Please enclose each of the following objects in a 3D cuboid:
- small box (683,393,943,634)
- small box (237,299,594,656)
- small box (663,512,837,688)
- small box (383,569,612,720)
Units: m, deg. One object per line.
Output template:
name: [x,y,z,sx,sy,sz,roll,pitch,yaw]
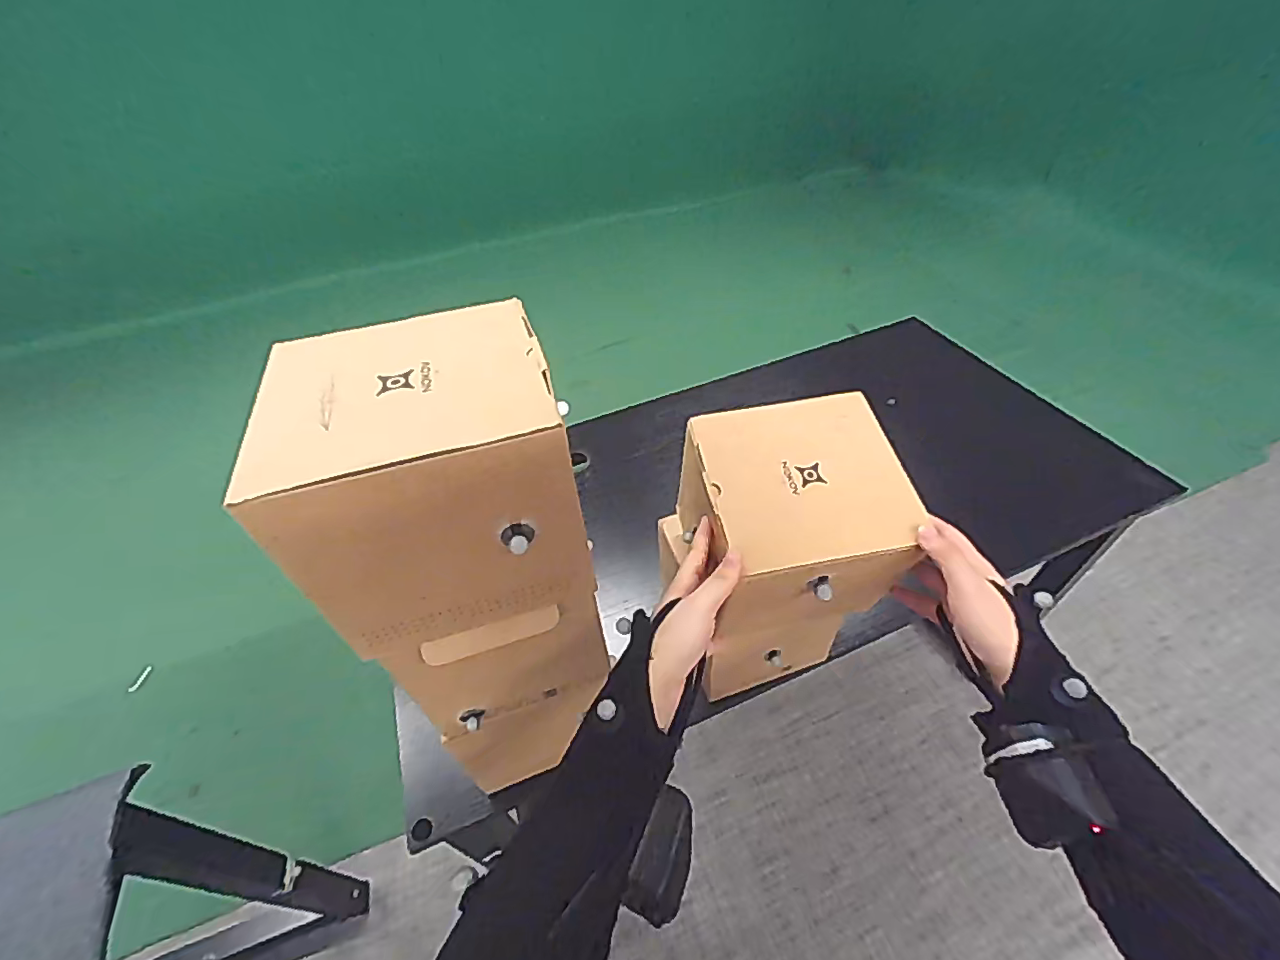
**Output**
small box: [0.148,0.039,0.539,0.179,0.176,0.168,-9,58,-6]
small box: [-0.137,-0.003,0.392,0.179,0.176,0.168,-16,45,-10]
small box: [0.136,0.139,0.683,0.168,0.176,0.179,-16,47,-10]
small box: [-0.130,0.103,0.515,0.168,0.176,0.179,-15,46,-11]
